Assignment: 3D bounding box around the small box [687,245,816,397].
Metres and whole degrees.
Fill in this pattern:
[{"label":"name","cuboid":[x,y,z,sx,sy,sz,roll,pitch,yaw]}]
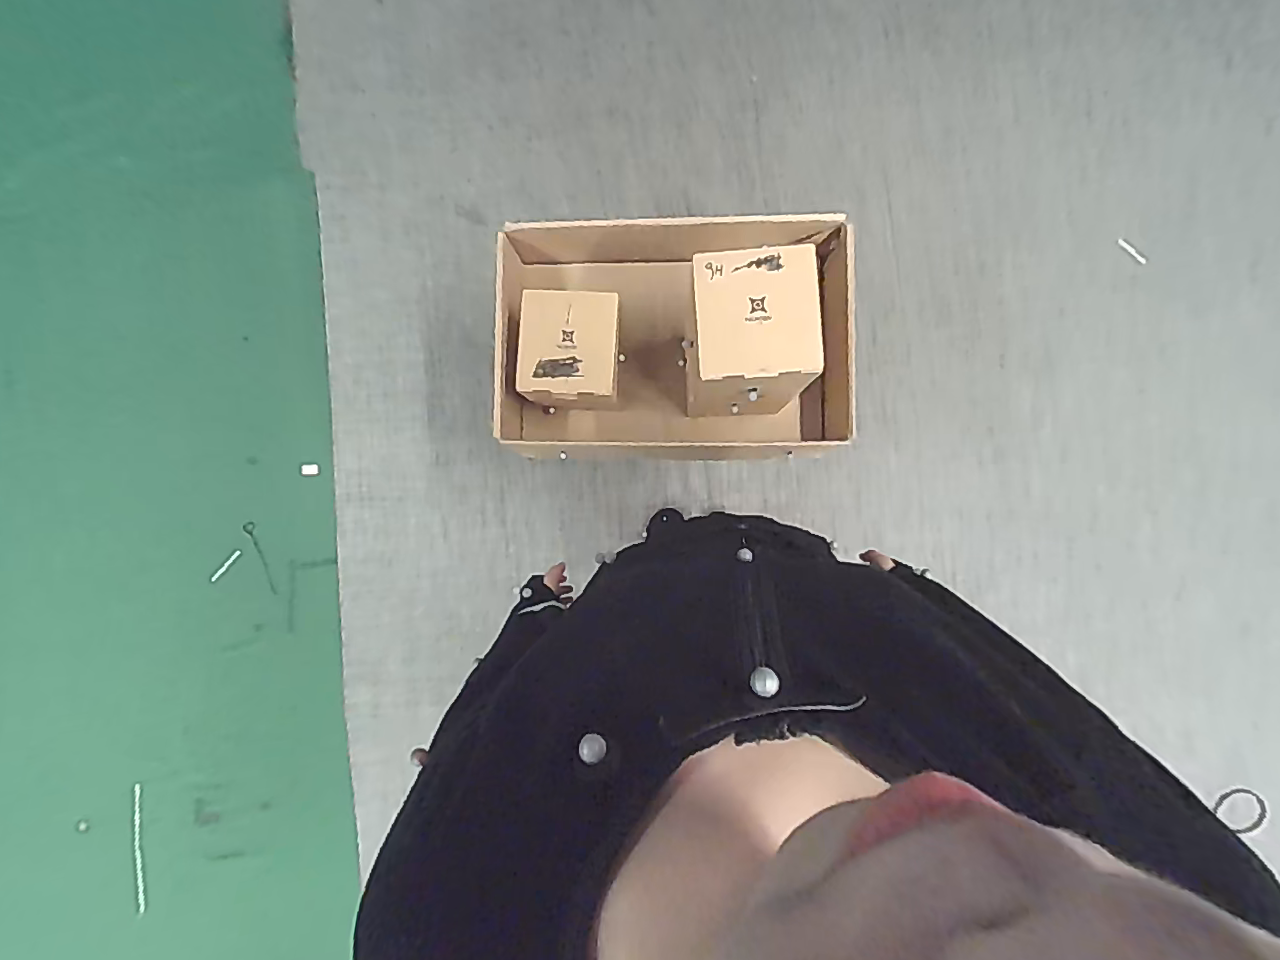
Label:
[{"label":"small box","cuboid":[0.156,-0.222,0.804,0.168,0.176,0.179,-3,88,3]}]
